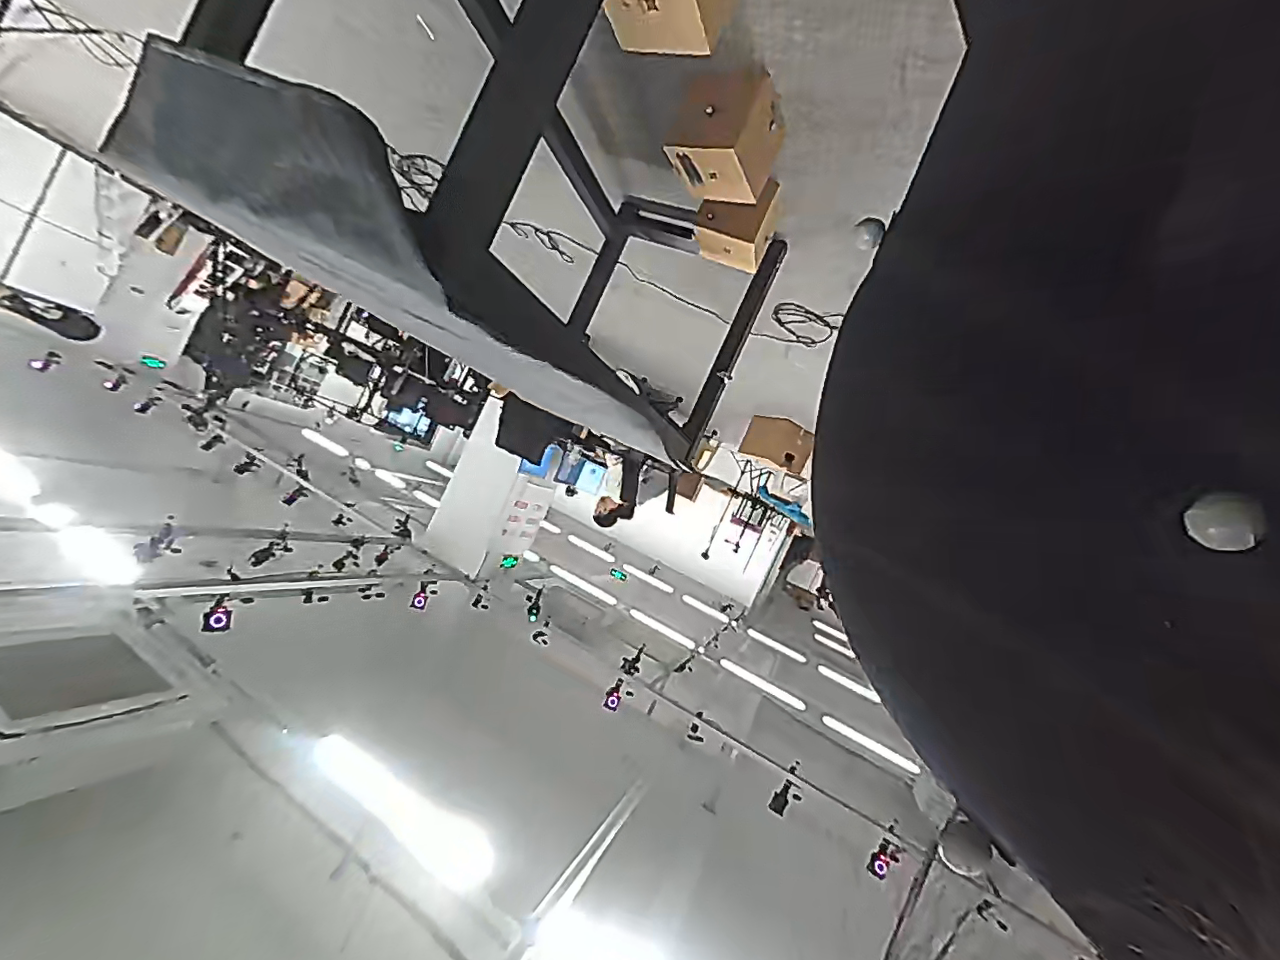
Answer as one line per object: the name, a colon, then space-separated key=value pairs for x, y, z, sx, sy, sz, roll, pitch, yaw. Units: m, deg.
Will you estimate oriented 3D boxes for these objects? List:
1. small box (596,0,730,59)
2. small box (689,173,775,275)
small box: x=0.041 y=-0.784 z=0.811 sx=0.179 sy=0.176 sz=0.168 roll=25 pitch=179 yaw=23
small box: x=0.252 y=-0.687 z=1.451 sx=0.179 sy=0.176 sz=0.168 roll=25 pitch=180 yaw=14
